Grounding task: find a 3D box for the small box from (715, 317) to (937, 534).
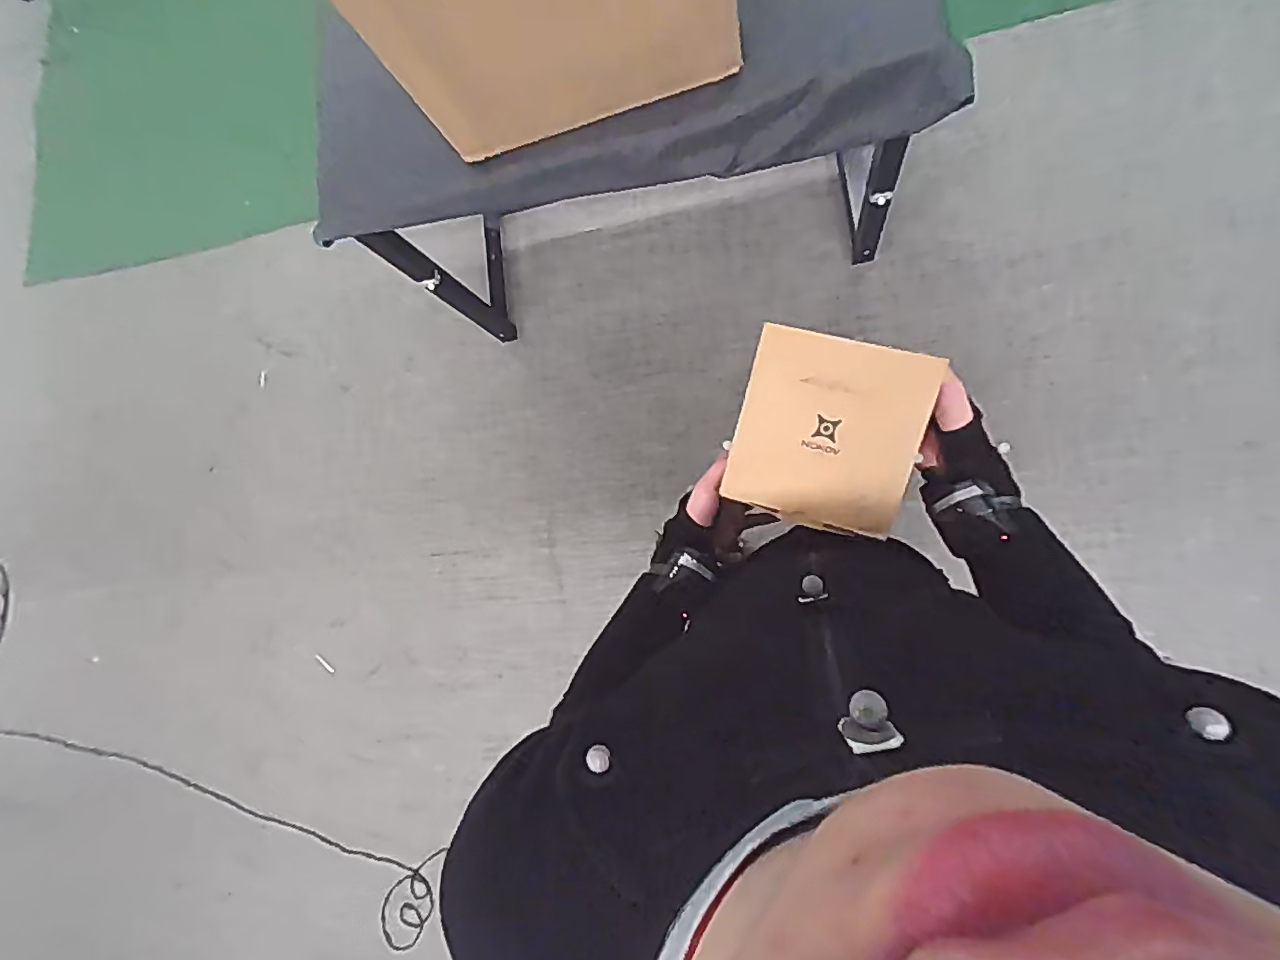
[{"bbox_3d":[0.190,-0.063,0.589,0.168,0.176,0.179,15,102,11],"label":"small box"}]
